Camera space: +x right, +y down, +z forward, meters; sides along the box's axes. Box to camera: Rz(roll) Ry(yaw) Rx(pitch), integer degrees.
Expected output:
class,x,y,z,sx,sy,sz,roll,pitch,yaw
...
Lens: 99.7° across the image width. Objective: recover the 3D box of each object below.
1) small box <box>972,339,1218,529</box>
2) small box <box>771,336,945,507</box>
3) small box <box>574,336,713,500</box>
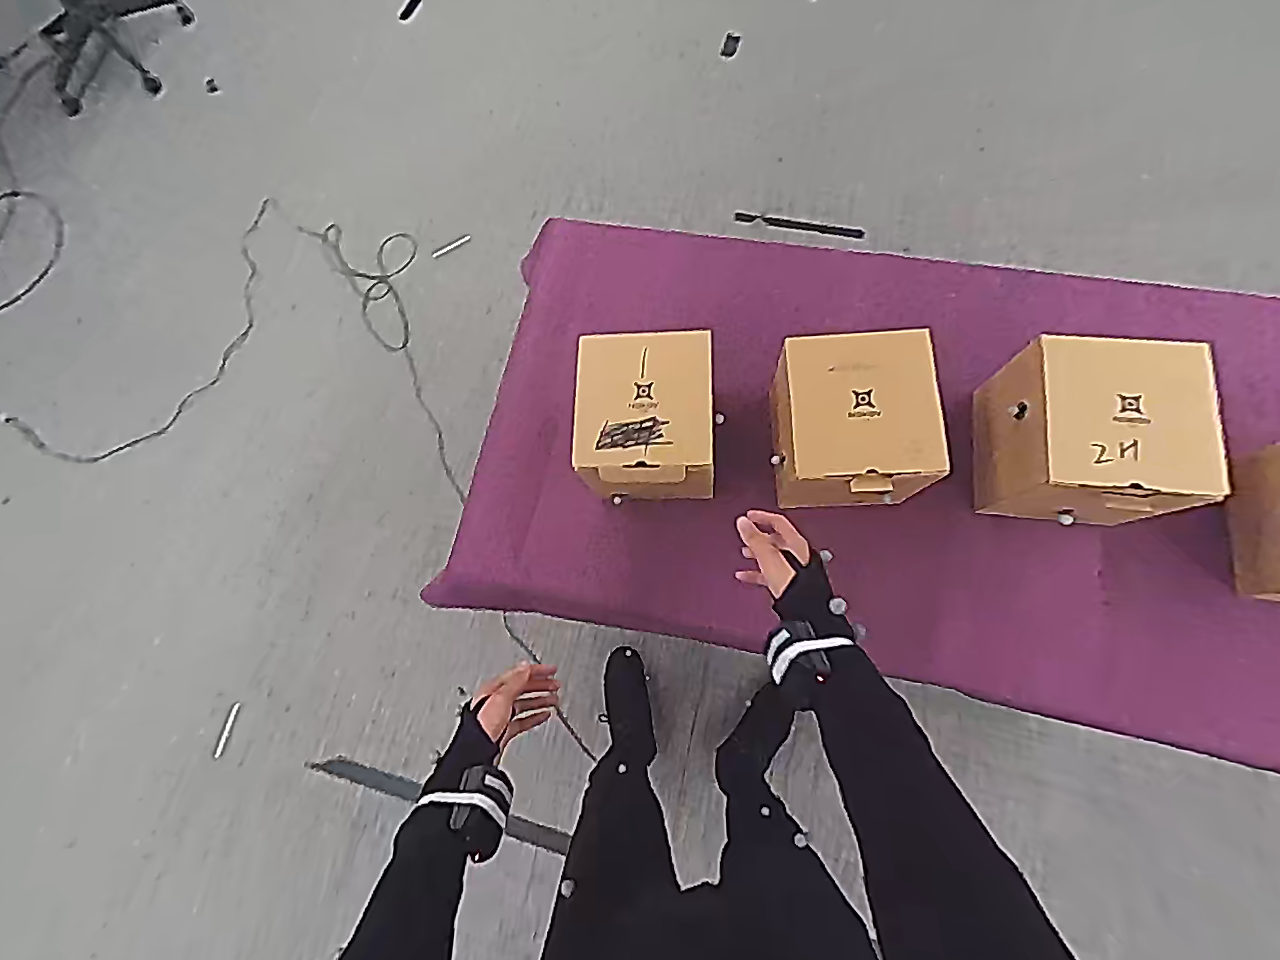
class,x,y,z,sx,sy,sz,roll,pitch,yaw
small box,0.526,-0.047,0.655,0.168,0.176,0.179,6,77,9
small box,0.264,-0.062,0.695,0.168,0.176,0.179,-2,75,6
small box,0.014,-0.072,0.727,0.168,0.176,0.179,0,75,7
